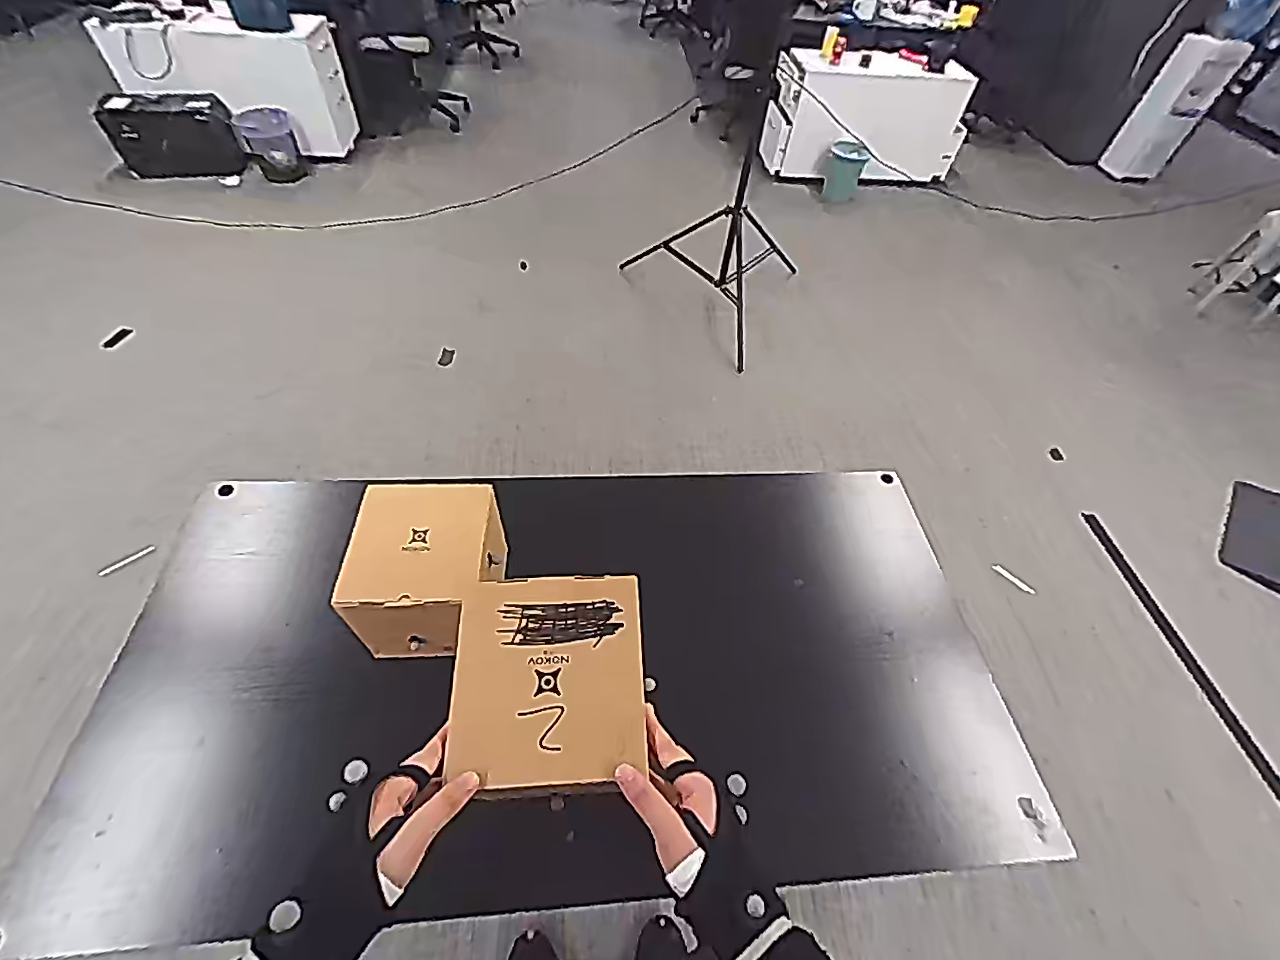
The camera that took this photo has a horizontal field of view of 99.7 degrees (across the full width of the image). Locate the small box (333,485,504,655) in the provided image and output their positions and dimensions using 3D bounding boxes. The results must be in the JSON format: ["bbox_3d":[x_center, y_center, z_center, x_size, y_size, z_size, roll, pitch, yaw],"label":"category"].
[{"bbox_3d":[-0.286,0.125,0.745,0.168,0.176,0.179,0,52,-5],"label":"small box"}]
